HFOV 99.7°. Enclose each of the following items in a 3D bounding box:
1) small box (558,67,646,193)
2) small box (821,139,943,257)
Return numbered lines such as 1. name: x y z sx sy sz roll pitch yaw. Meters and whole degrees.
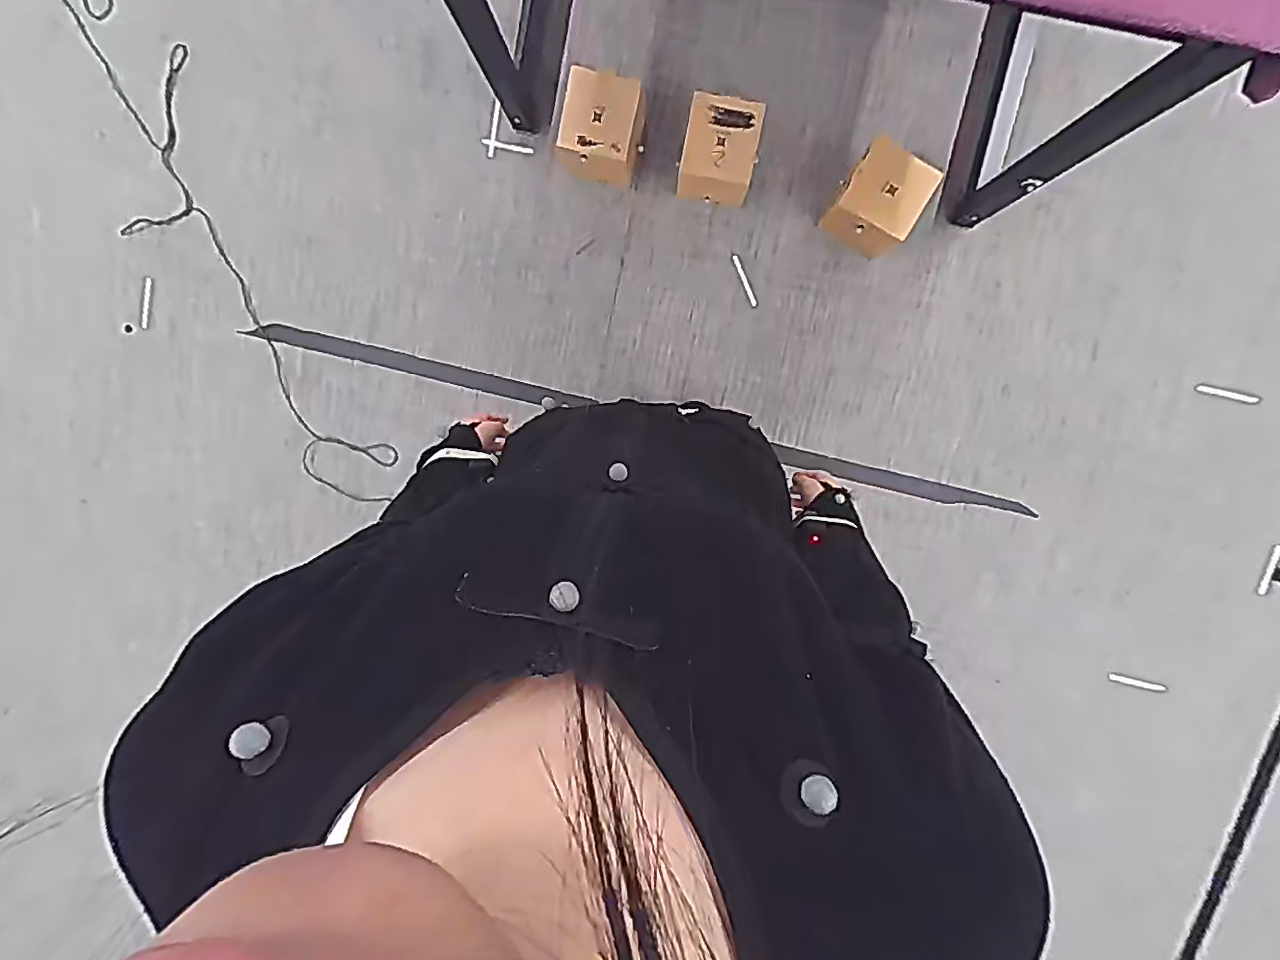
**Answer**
1. small box: -0.086 -0.829 1.296 0.168 0.176 0.179 15 97 1
2. small box: 0.566 -0.657 1.289 0.179 0.176 0.168 30 99 0
